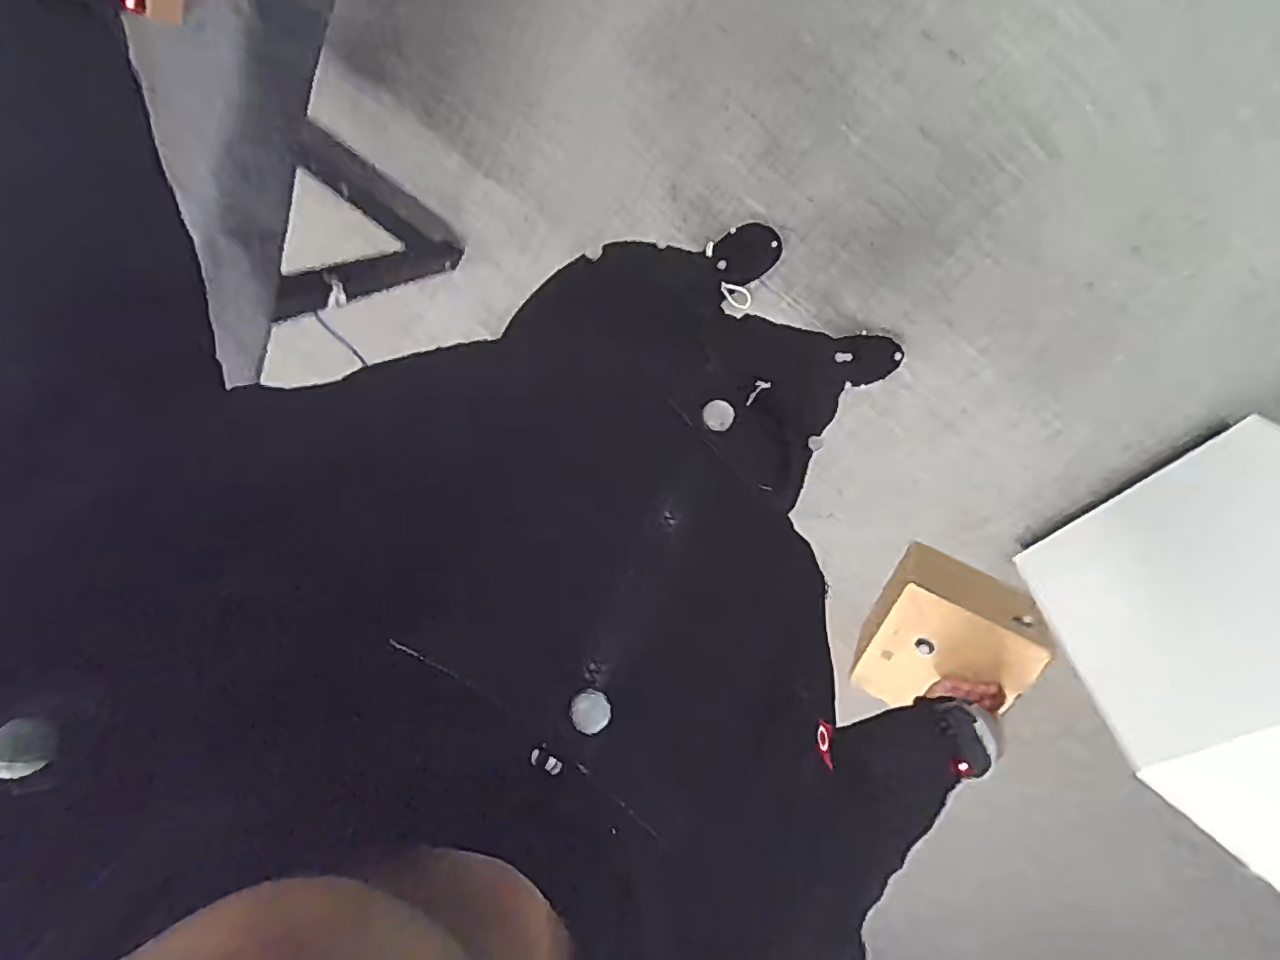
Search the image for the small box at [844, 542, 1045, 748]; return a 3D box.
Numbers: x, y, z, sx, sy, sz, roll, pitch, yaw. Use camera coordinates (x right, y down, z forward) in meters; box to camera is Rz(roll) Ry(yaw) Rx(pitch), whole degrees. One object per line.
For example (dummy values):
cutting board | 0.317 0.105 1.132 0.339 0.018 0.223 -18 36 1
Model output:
small box | 0.402 0.209 0.738 0.176 0.179 0.168 28 114 20
